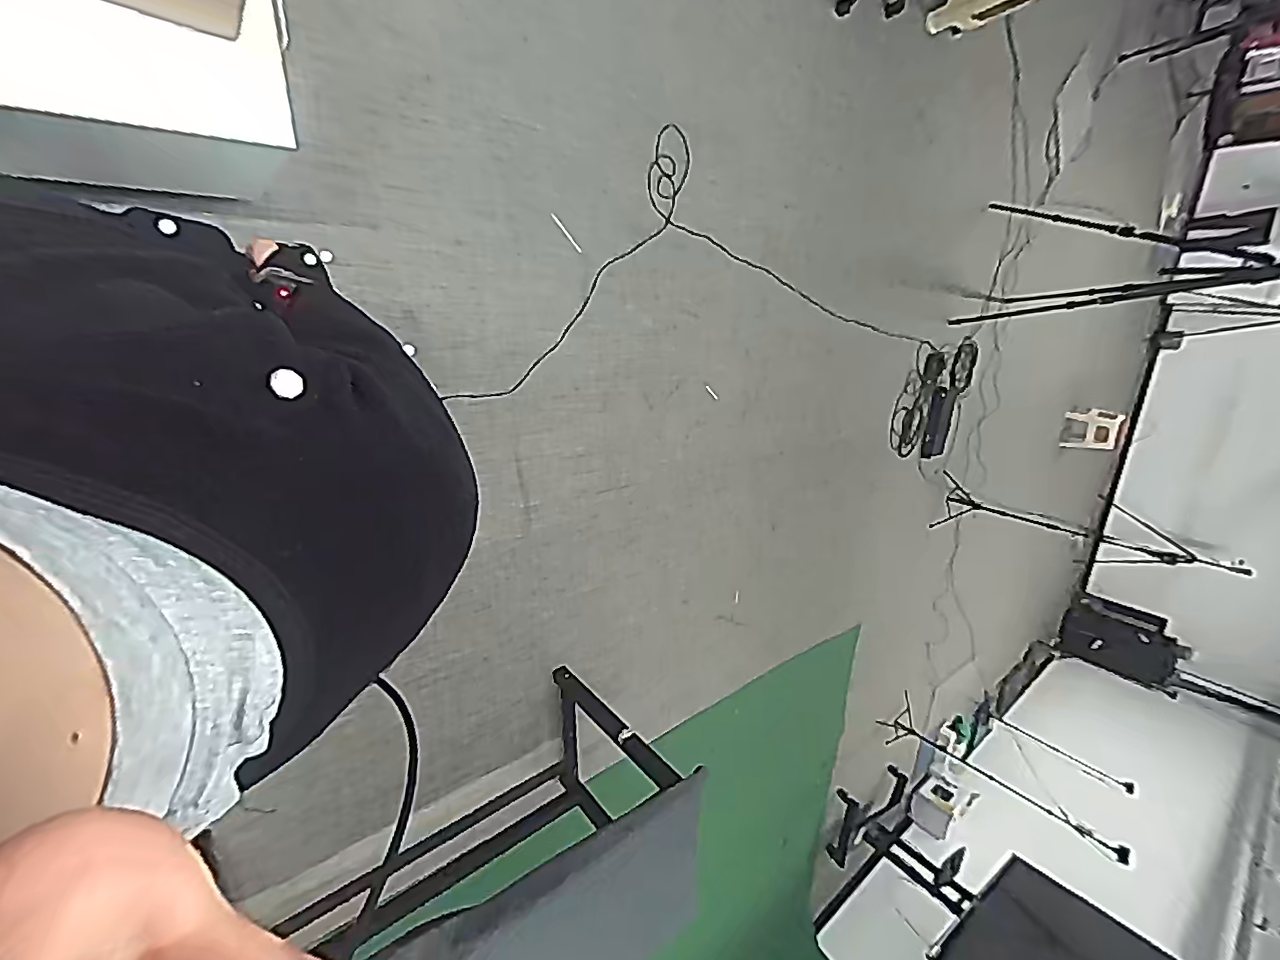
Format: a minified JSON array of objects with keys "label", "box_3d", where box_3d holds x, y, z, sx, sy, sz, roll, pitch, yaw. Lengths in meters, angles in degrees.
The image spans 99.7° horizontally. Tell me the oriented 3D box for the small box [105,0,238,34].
[{"label":"small box","box_3d":[-0.530,-0.607,0.558,0.179,0.176,0.168,-9,112,-38]}]
